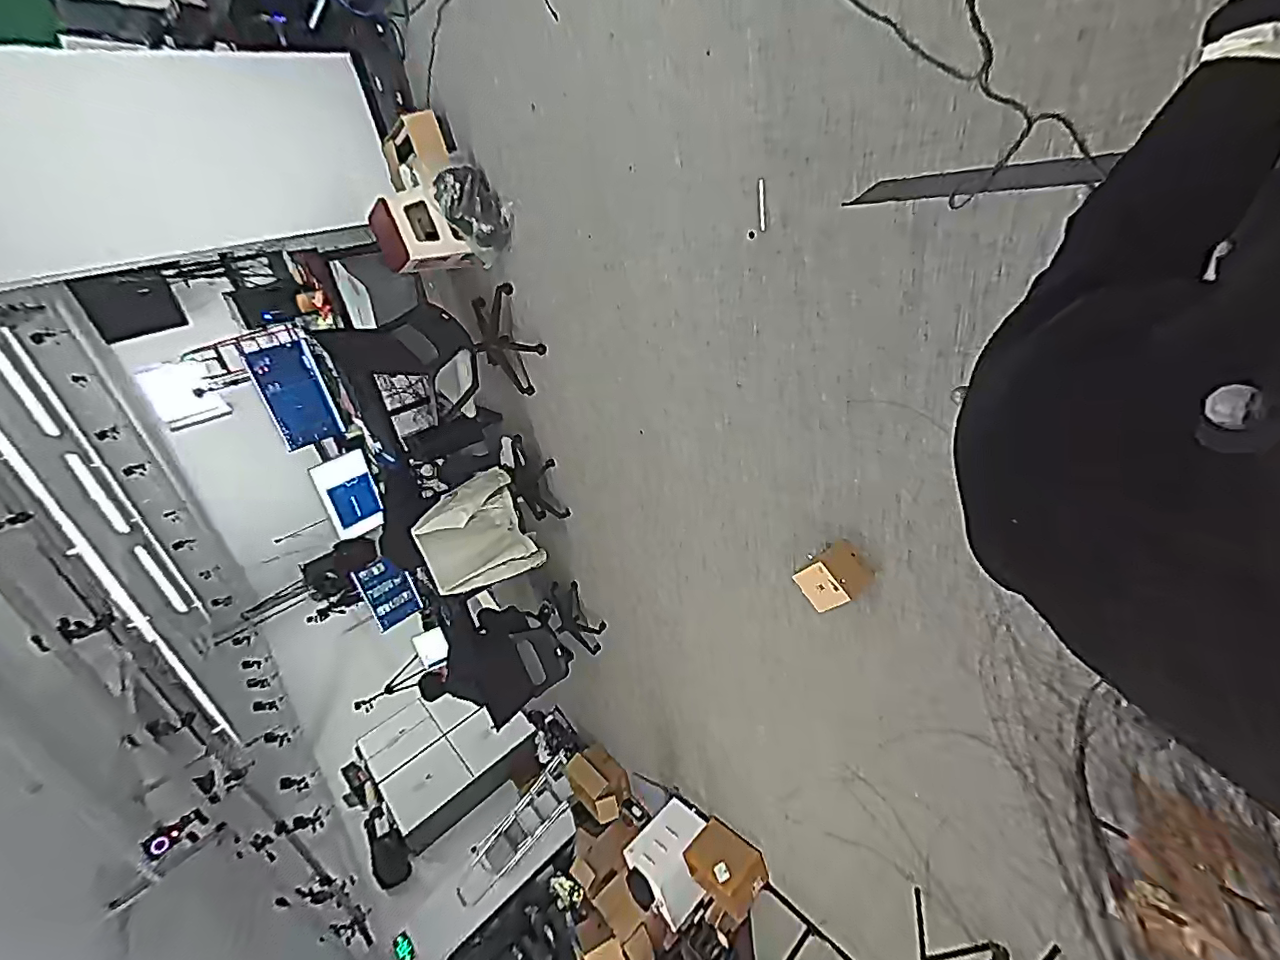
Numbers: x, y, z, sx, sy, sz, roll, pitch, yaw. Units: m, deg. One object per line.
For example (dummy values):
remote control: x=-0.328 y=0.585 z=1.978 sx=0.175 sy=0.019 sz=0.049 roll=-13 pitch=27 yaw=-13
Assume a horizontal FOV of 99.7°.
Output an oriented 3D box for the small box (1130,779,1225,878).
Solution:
small box: x=1.447 y=0.964 z=1.469 sx=0.168 sy=0.176 sz=0.179 roll=17 pitch=130 yaw=48

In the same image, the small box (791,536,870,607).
small box: x=0.696 y=0.333 z=1.972 sx=0.168 sy=0.176 sz=0.179 roll=53 pitch=147 yaw=10

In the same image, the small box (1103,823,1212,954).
small box: x=1.324 y=1.033 z=1.384 sx=0.168 sy=0.176 sz=0.179 roll=18 pitch=130 yaw=47
